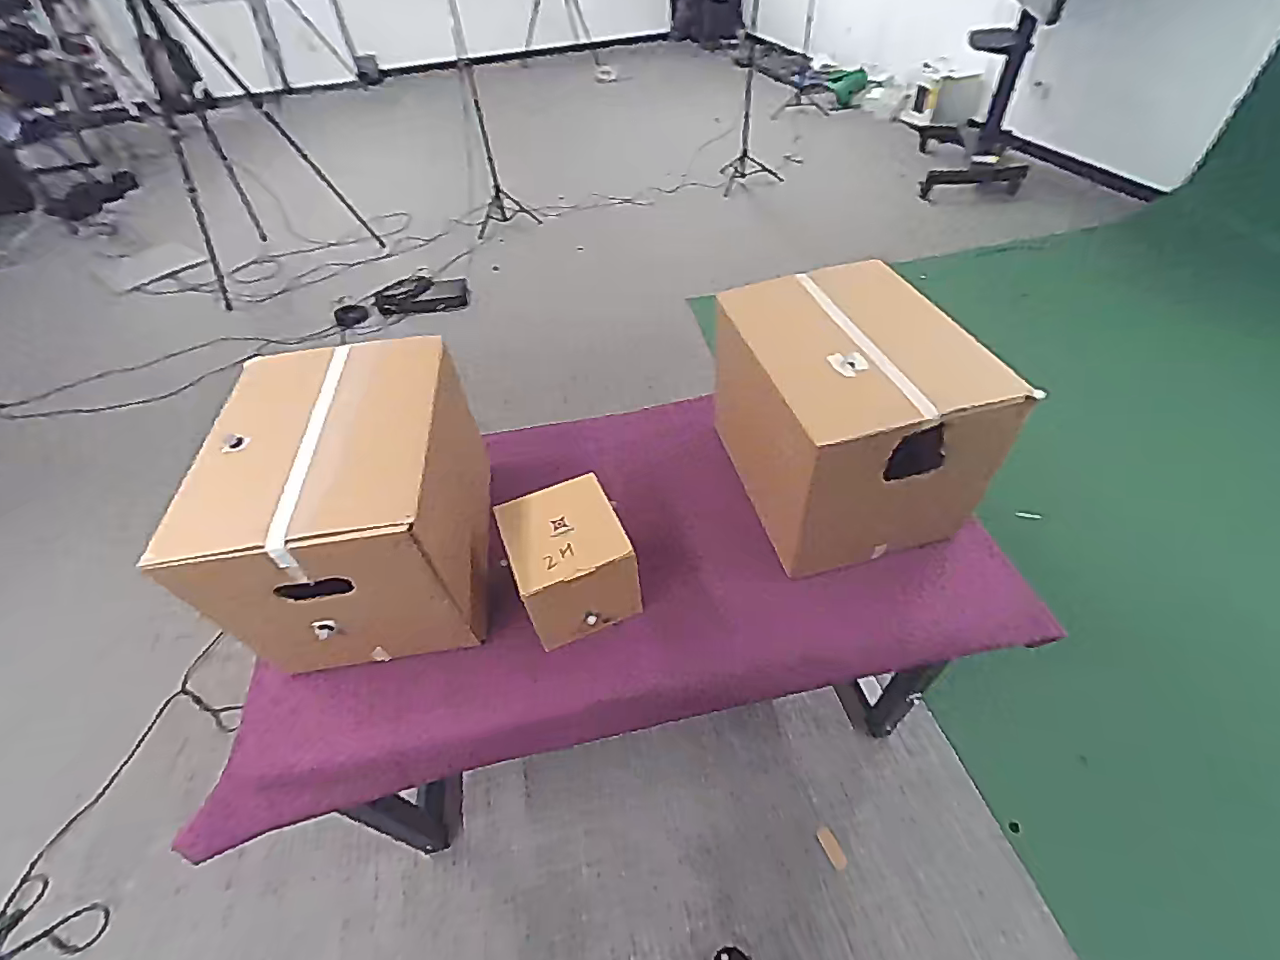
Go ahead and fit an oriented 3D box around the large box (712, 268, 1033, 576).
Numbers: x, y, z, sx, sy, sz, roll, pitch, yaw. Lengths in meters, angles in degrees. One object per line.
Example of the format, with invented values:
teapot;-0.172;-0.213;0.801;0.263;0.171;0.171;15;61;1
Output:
large box;0.334;-0.109;0.935;0.320;0.320;0.408;-14;48;-5
